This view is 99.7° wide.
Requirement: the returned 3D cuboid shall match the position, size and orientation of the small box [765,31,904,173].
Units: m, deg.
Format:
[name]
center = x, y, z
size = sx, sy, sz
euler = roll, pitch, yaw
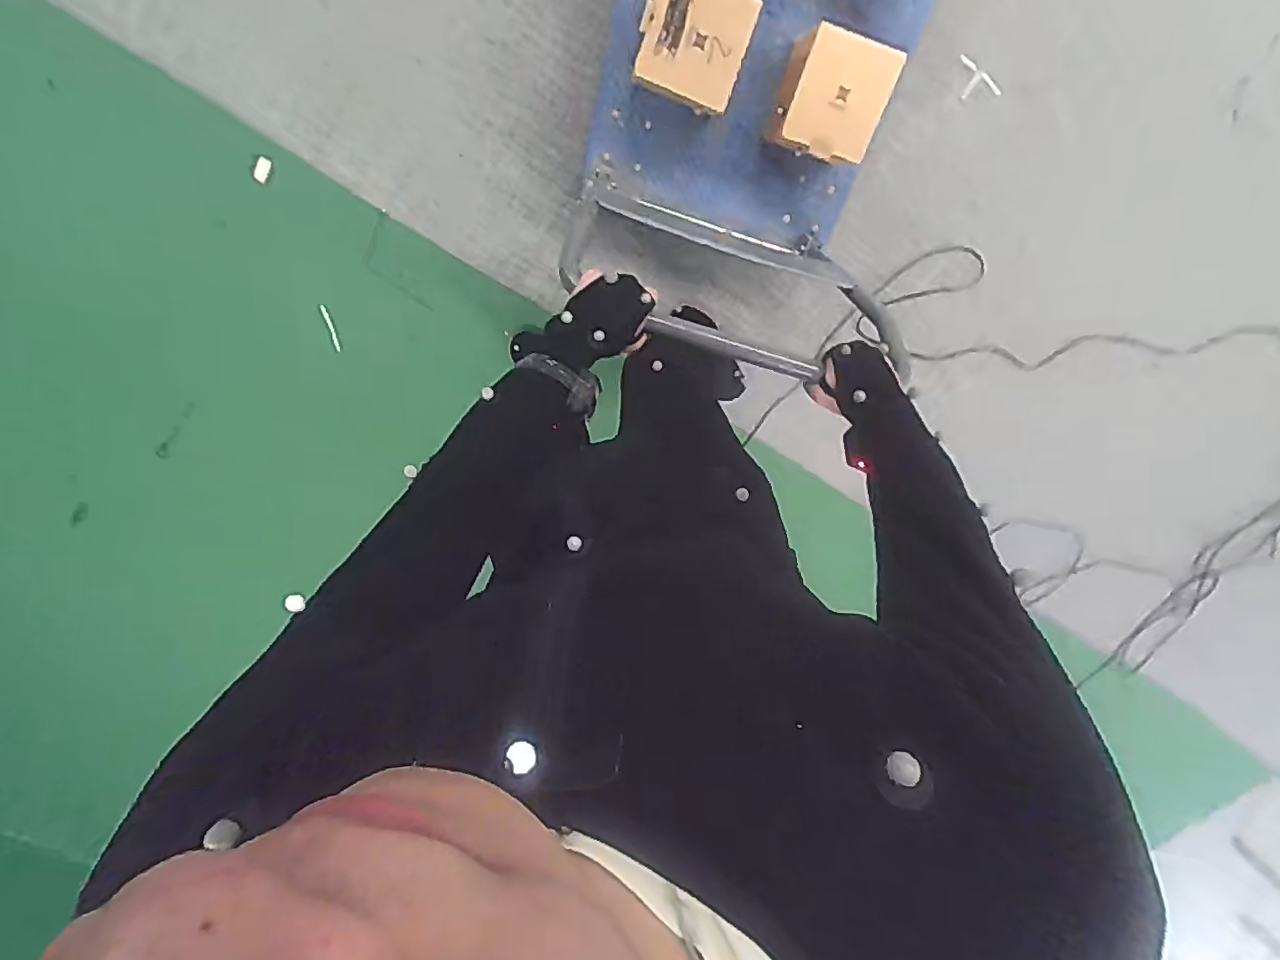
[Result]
[small box]
center = 0.357, -0.714, 1.036
size = 0.168, 0.176, 0.179
euler = 14, 122, -9
